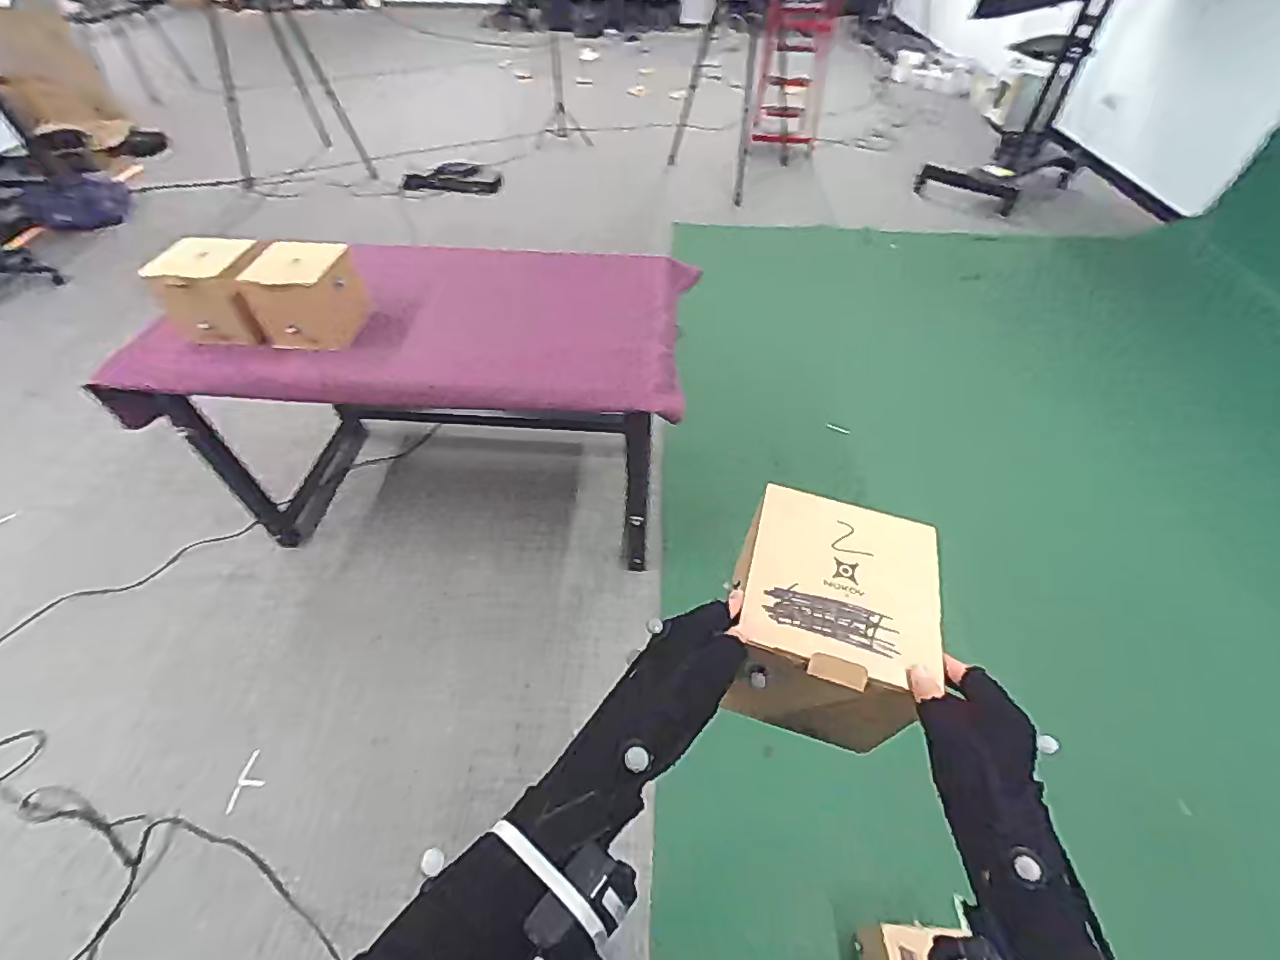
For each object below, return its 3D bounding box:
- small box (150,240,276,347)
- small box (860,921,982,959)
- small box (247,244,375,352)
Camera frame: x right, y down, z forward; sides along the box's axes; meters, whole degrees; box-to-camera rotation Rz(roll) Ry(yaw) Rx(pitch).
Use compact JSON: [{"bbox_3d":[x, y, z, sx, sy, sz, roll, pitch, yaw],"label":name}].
[{"bbox_3d":[-0.943,-0.429,1.244,0.168,0.176,0.179,3,49,2],"label":"small box"},{"bbox_3d":[0.530,0.945,1.014,0.179,0.176,0.168,4,49,2],"label":"small box"},{"bbox_3d":[-0.737,-0.416,1.238,0.168,0.176,0.179,3,50,2],"label":"small box"}]
